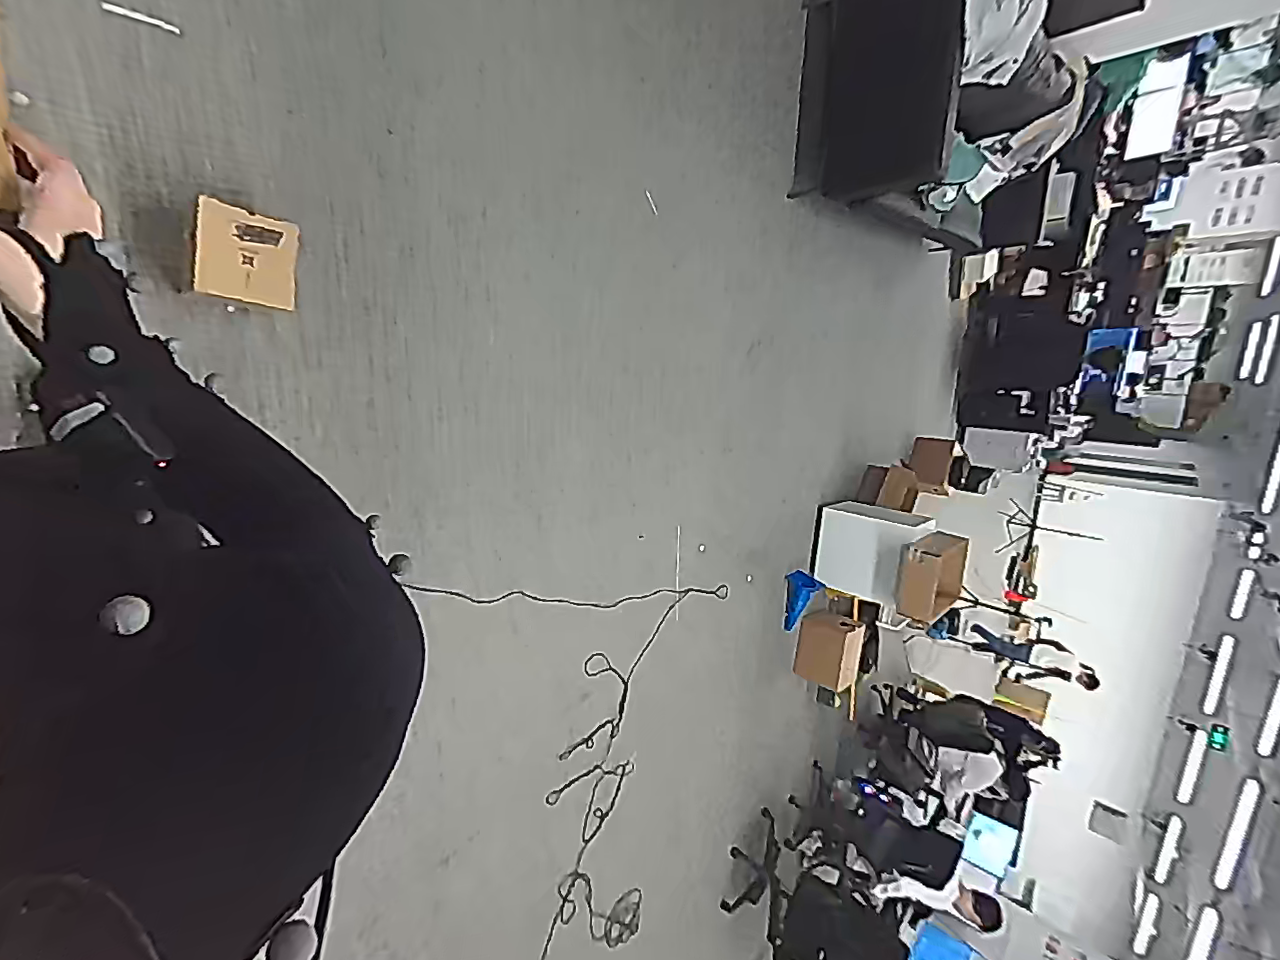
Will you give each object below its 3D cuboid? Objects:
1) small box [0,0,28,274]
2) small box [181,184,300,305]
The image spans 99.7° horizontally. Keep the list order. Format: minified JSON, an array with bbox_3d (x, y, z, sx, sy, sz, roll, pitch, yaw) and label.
[{"bbox_3d":[-0.528,-0.258,0.346,0.168,0.176,0.179,-7,90,-50],"label":"small box"},{"bbox_3d":[-0.818,-0.467,1.104,0.168,0.176,0.179,2,99,-47],"label":"small box"}]
